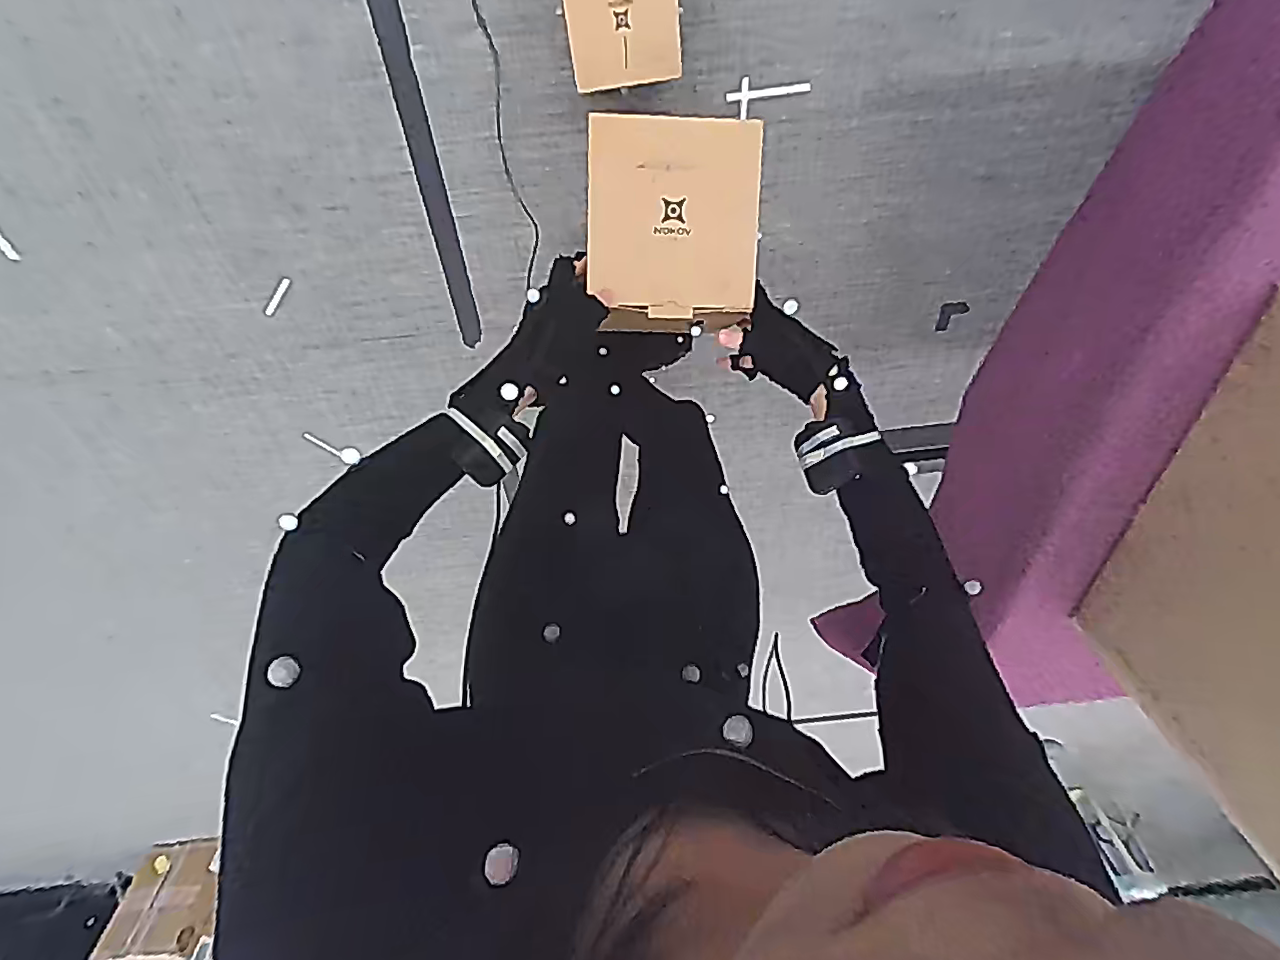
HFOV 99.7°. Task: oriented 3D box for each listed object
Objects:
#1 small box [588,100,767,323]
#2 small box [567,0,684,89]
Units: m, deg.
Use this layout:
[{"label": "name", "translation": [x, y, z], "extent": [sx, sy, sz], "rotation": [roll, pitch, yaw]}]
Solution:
[{"label": "small box", "translation": [0.030, -0.270, 0.586], "extent": [0.168, 0.176, 0.179], "rotation": [0, 98, -4]}, {"label": "small box", "translation": [-0.027, -0.722, 0.831], "extent": [0.168, 0.176, 0.179], "rotation": [-7, 130, 1]}]
